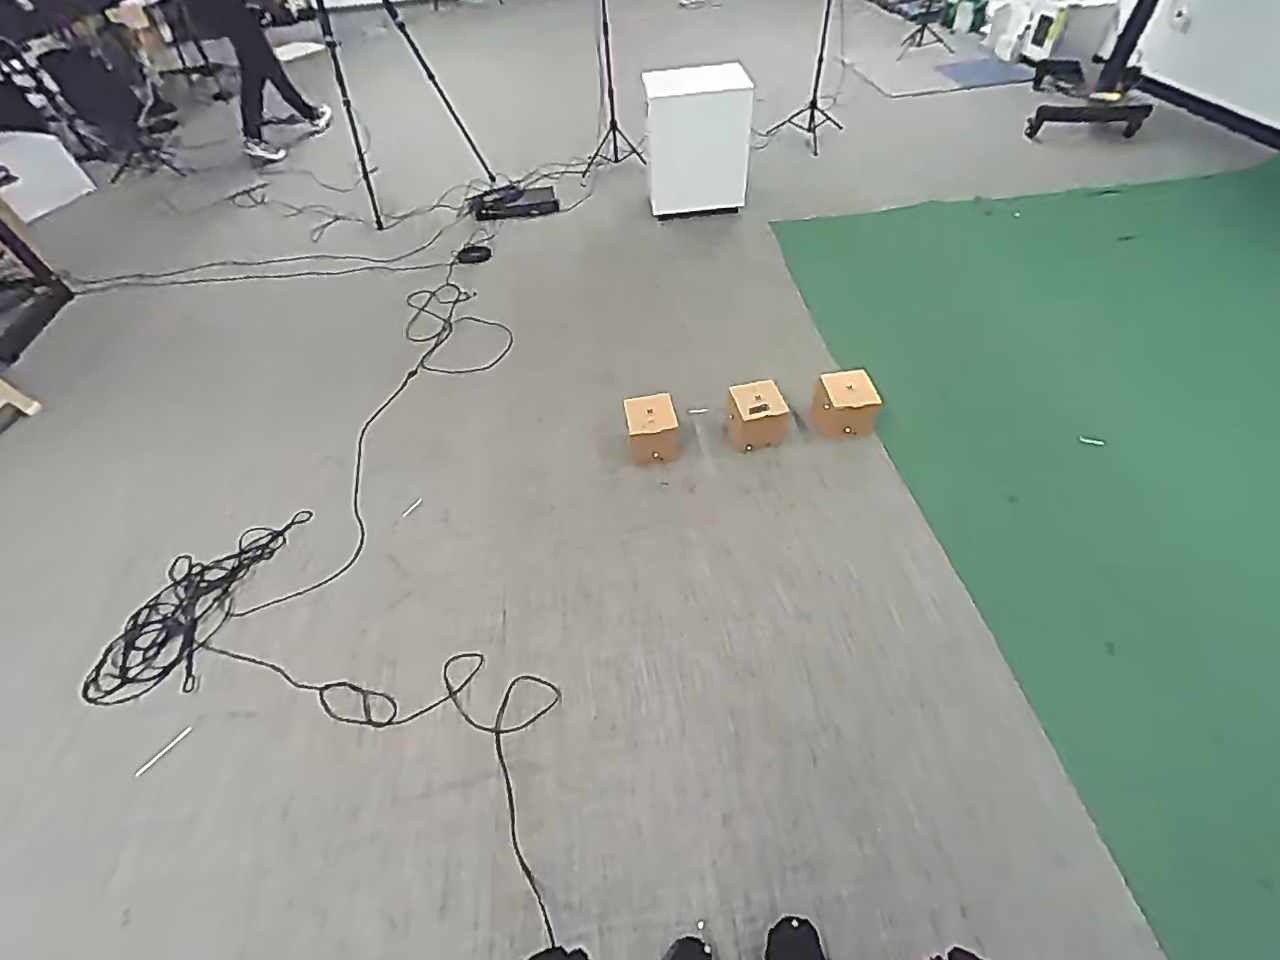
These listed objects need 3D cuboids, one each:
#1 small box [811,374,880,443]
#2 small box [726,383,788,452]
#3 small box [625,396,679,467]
[{"bbox_3d":[0.735,-0.257,1.955,0.168,0.176,0.179,-7,51,-1],"label":"small box"},{"bbox_3d":[0.414,-0.217,1.942,0.168,0.176,0.179,-10,51,-5],"label":"small box"},{"bbox_3d":[0.042,-0.171,1.925,0.168,0.176,0.179,-9,52,-2],"label":"small box"}]
